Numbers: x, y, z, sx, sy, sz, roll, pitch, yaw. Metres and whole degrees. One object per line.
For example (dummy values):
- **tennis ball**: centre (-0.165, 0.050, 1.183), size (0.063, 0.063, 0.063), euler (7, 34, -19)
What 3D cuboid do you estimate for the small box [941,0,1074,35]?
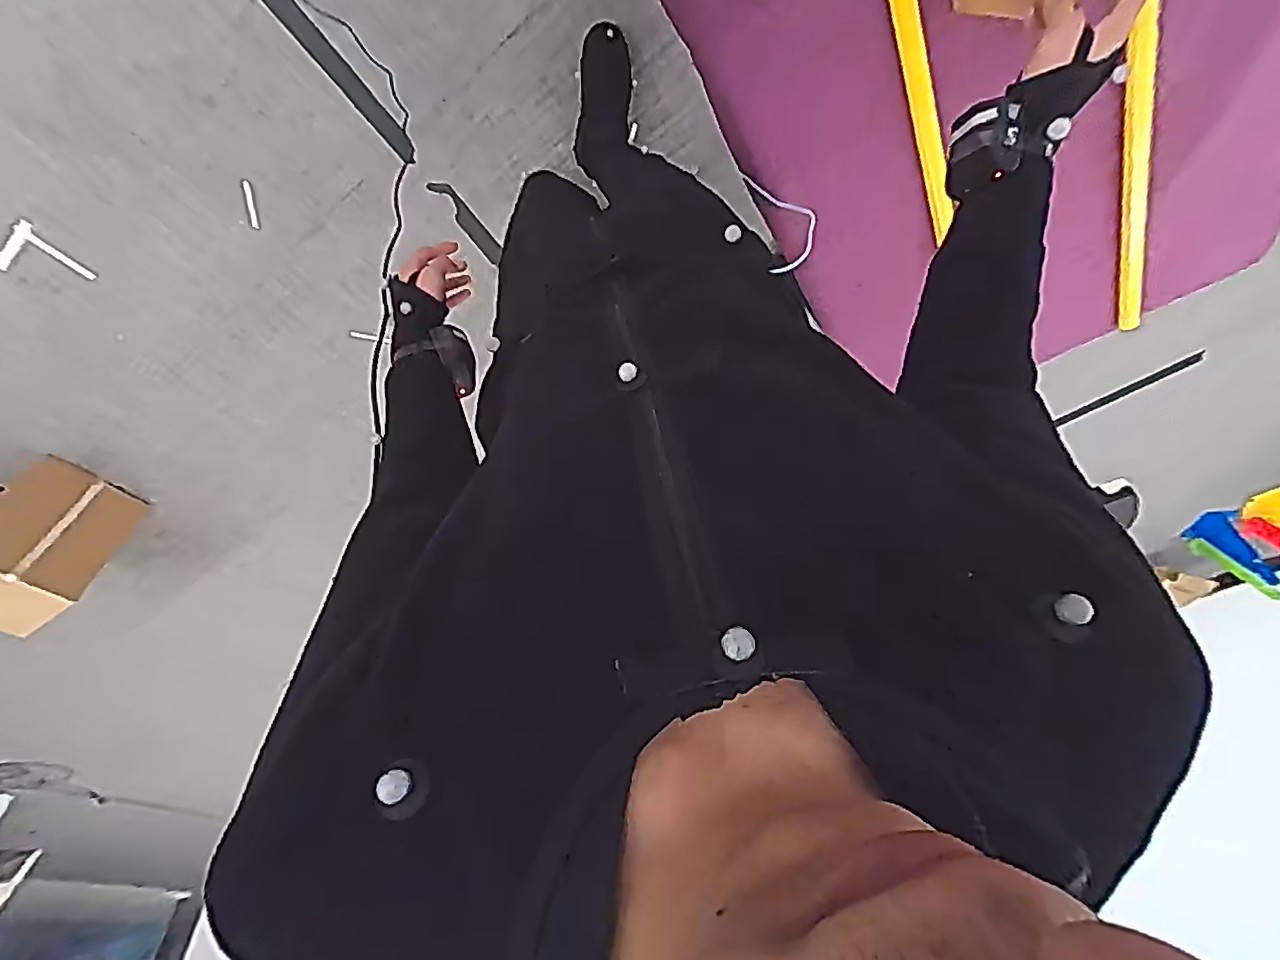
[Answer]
- **small box**: centre (0.354, -0.543, 0.466), size (0.168, 0.176, 0.179), euler (-33, 129, 23)
